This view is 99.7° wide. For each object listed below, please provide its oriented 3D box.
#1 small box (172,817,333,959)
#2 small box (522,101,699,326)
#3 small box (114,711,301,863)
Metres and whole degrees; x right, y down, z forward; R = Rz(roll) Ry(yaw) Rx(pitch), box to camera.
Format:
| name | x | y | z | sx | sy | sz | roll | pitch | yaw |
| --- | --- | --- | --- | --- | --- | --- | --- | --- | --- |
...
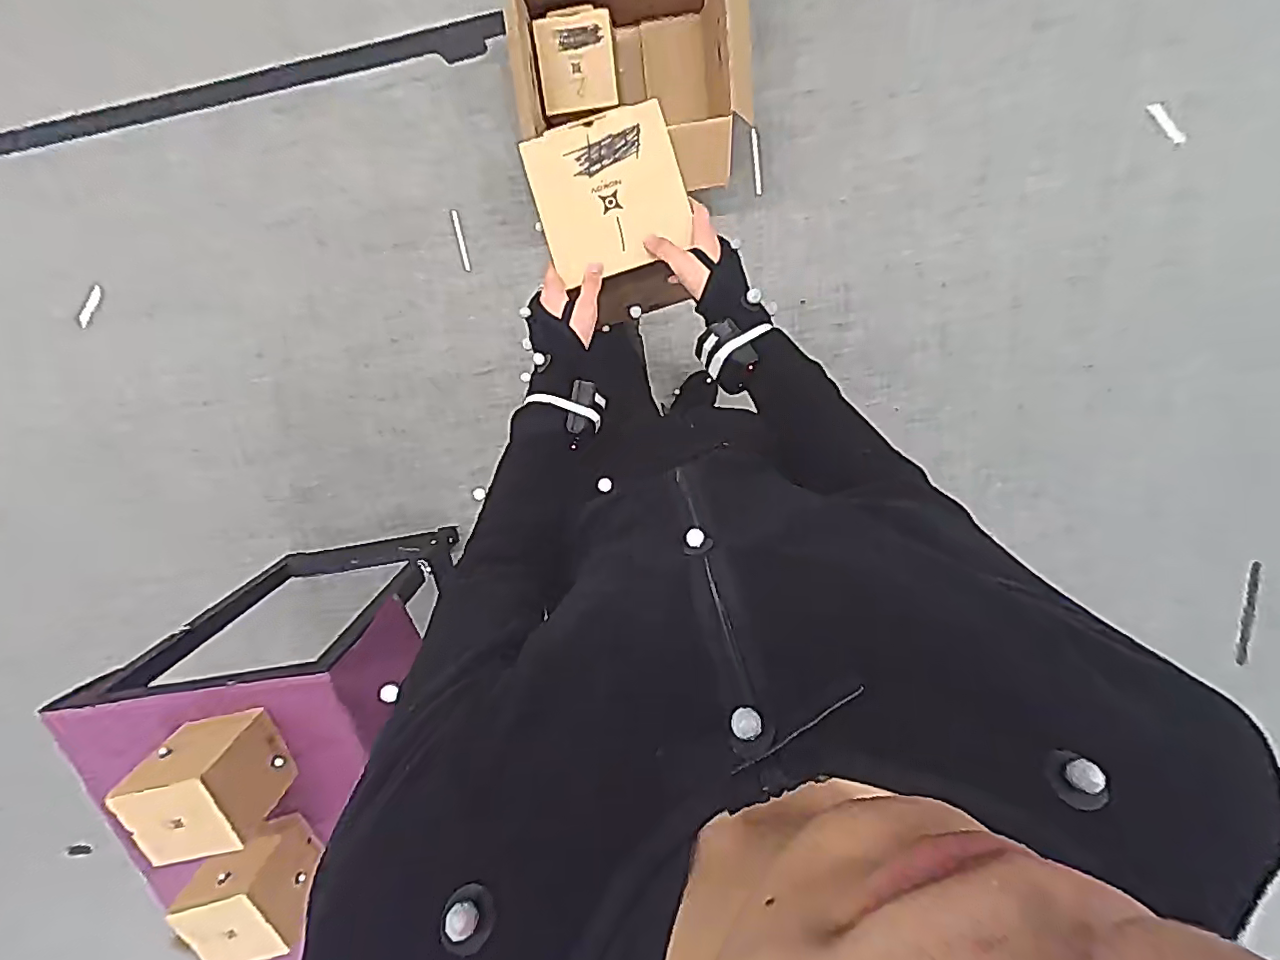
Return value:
| name | x | y | z | sx | sy | sz | roll | pitch | yaw |
| --- | --- | --- | --- | --- | --- | --- | --- | --- | --- |
| small box | -0.754 | 0.816 | 1.082 | 0.179 | 0.176 | 0.168 | -19 | 107 | 7 |
| small box | -0.031 | -0.320 | 0.685 | 0.168 | 0.176 | 0.179 | -17 | 89 | 3 |
| small box | -0.780 | 0.558 | 0.997 | 0.179 | 0.176 | 0.168 | -13 | 109 | 5 |
